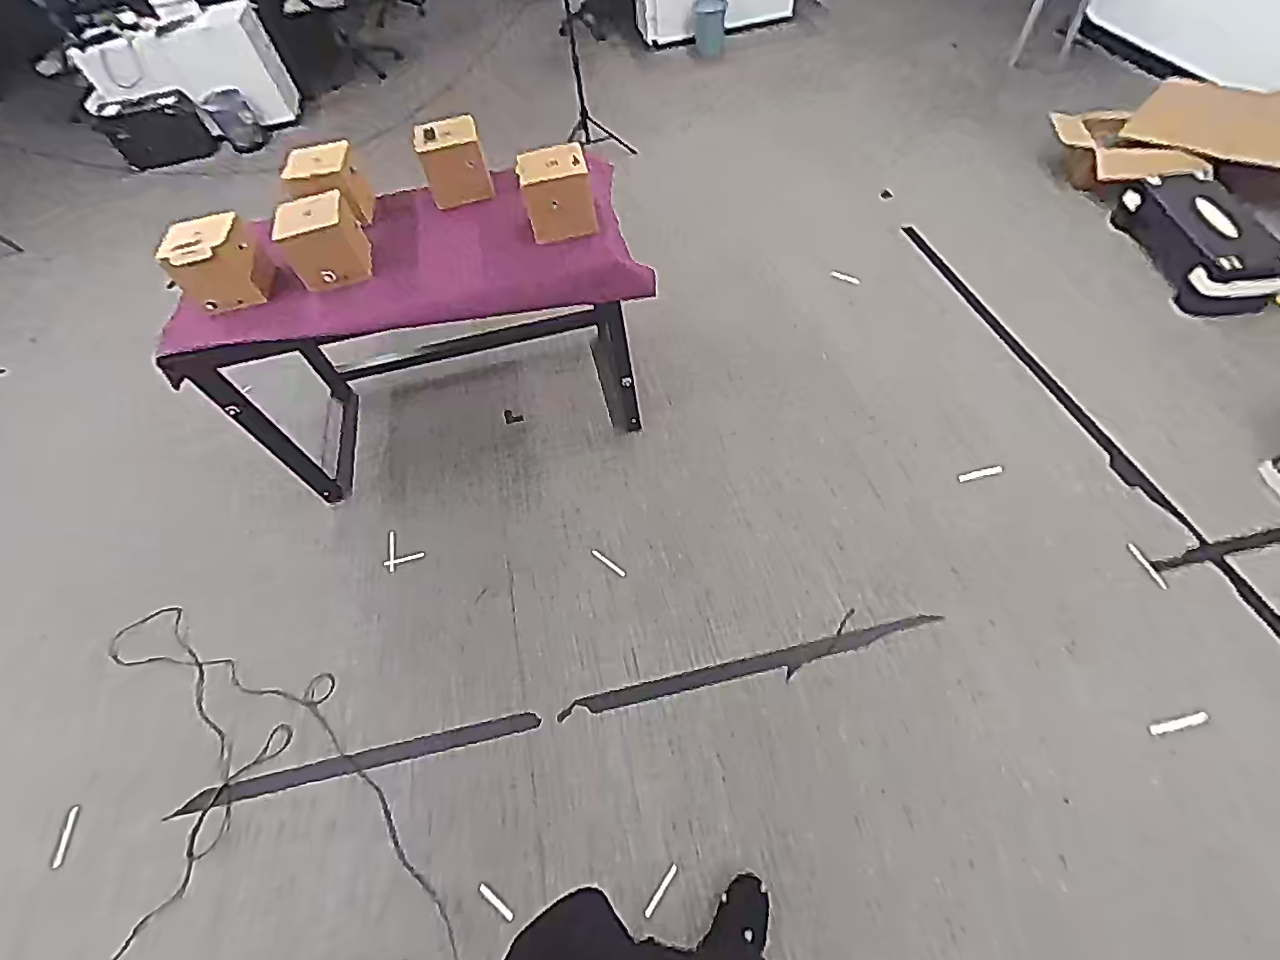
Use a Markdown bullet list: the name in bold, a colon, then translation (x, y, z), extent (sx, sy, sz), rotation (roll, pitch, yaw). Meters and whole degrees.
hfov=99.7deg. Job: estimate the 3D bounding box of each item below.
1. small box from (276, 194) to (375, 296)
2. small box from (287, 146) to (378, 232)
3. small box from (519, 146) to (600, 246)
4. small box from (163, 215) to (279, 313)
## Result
- **small box**: translation (-0.835, -0.628, 1.452), extent (0.168, 0.176, 0.179), rotation (-18, 56, -4)
- **small box**: translation (-0.903, -0.855, 1.606), extent (0.168, 0.176, 0.179), rotation (-11, 56, -1)
- **small box**: translation (-0.217, -0.765, 1.469), extent (0.179, 0.176, 0.168), rotation (-13, 56, 0)
- **small box**: translation (-1.102, -0.566, 1.439), extent (0.168, 0.176, 0.179), rotation (-15, 55, -4)
